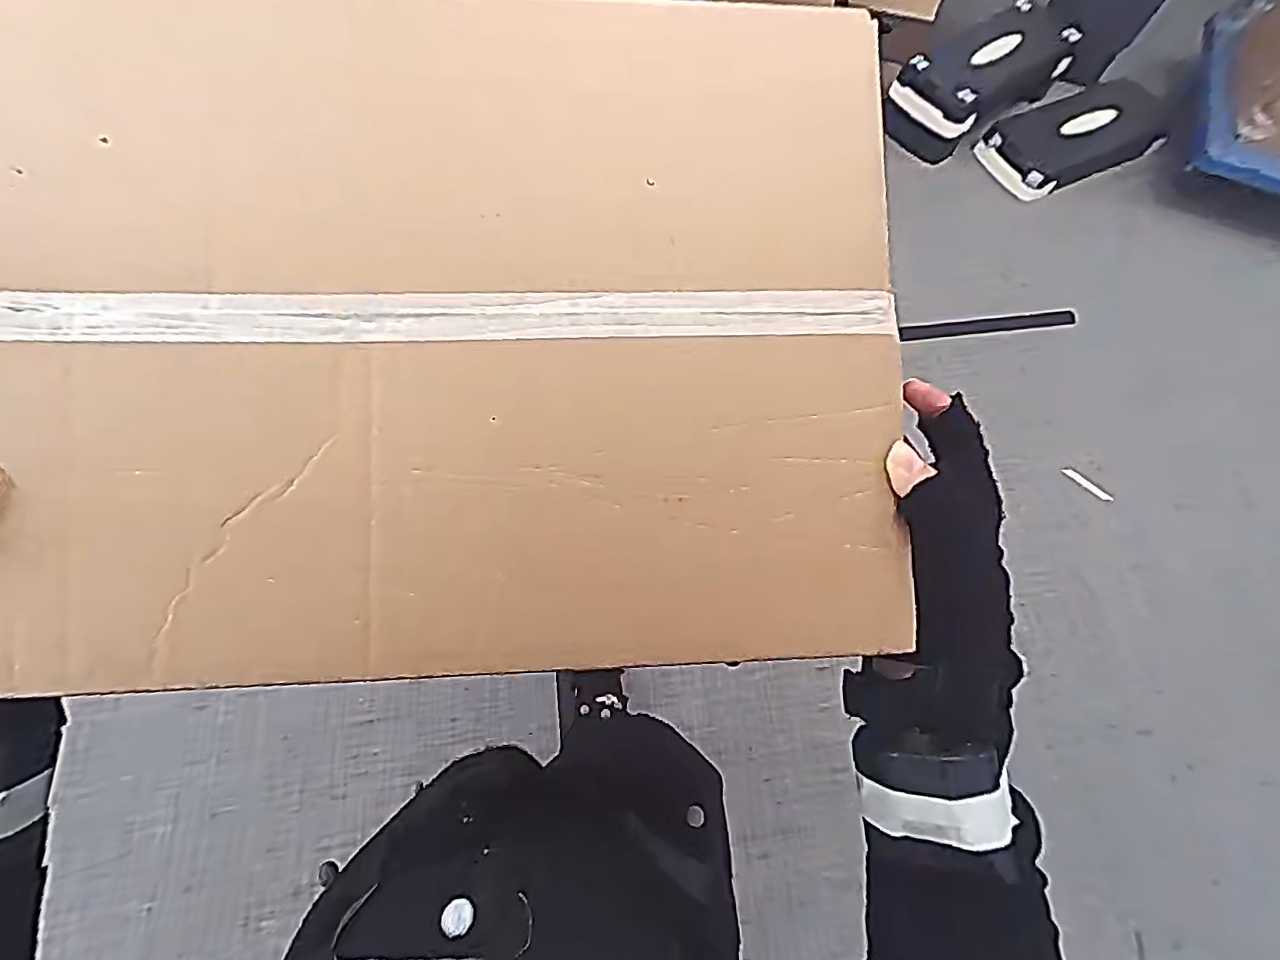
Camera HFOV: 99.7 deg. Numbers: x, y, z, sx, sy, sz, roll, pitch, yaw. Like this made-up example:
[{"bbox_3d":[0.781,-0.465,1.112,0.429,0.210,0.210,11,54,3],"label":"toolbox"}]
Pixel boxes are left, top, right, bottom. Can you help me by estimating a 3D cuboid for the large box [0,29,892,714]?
[{"bbox_3d":[-0.093,-0.053,0.398,0.408,0.320,0.320,-2,85,-4],"label":"large box"}]
